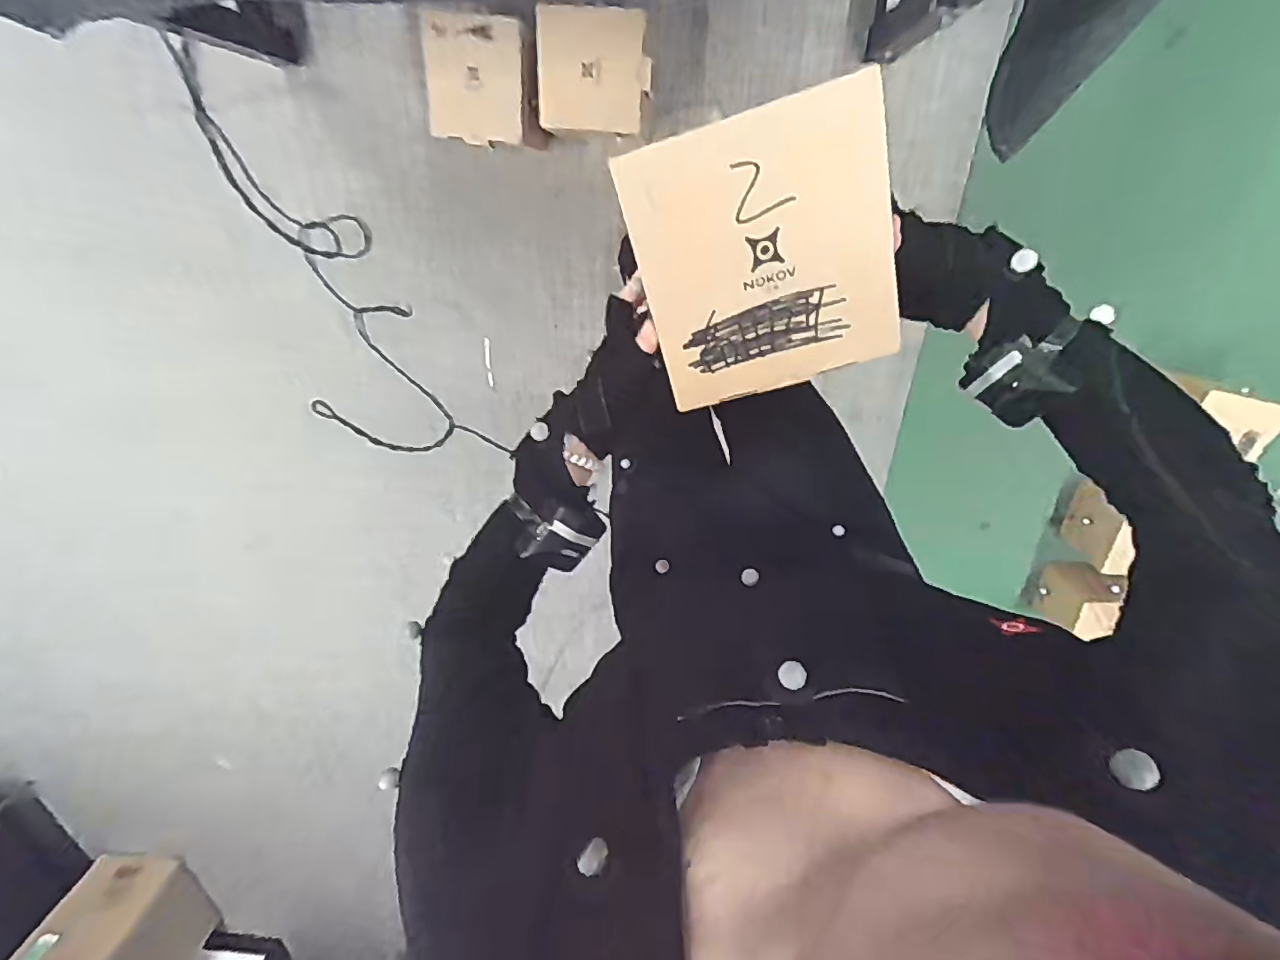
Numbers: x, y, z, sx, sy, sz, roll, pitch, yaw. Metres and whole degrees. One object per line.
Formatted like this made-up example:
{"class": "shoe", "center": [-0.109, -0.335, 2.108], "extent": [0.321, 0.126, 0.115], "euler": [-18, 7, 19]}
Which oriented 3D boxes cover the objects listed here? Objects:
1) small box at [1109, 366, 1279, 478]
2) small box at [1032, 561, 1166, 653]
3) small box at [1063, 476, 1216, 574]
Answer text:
{"class": "small box", "center": [1.168, -0.129, 1.141], "extent": [0.179, 0.176, 0.168], "euler": [13, 117, 0]}
{"class": "small box", "center": [1.155, 0.318, 1.377], "extent": [0.179, 0.176, 0.168], "euler": [-2, 117, 6]}
{"class": "small box", "center": [1.146, 0.099, 1.261], "extent": [0.179, 0.176, 0.168], "euler": [1, 118, 4]}
